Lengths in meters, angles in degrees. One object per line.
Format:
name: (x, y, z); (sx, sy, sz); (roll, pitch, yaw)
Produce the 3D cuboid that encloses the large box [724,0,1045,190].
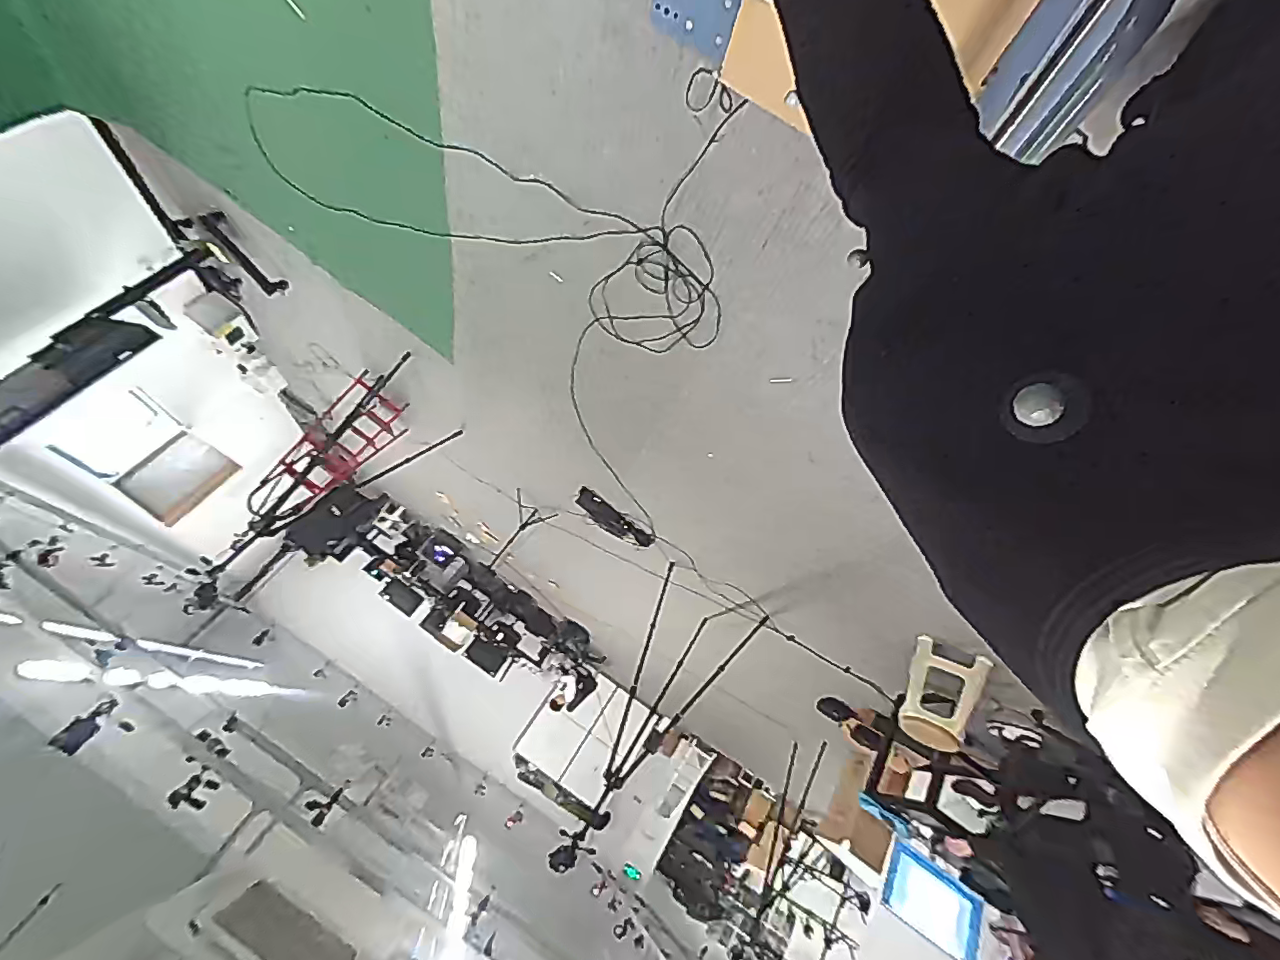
large box: (0.424, -0.790, 0.908); (0.408, 0.320, 0.320); (34, 153, 5)
